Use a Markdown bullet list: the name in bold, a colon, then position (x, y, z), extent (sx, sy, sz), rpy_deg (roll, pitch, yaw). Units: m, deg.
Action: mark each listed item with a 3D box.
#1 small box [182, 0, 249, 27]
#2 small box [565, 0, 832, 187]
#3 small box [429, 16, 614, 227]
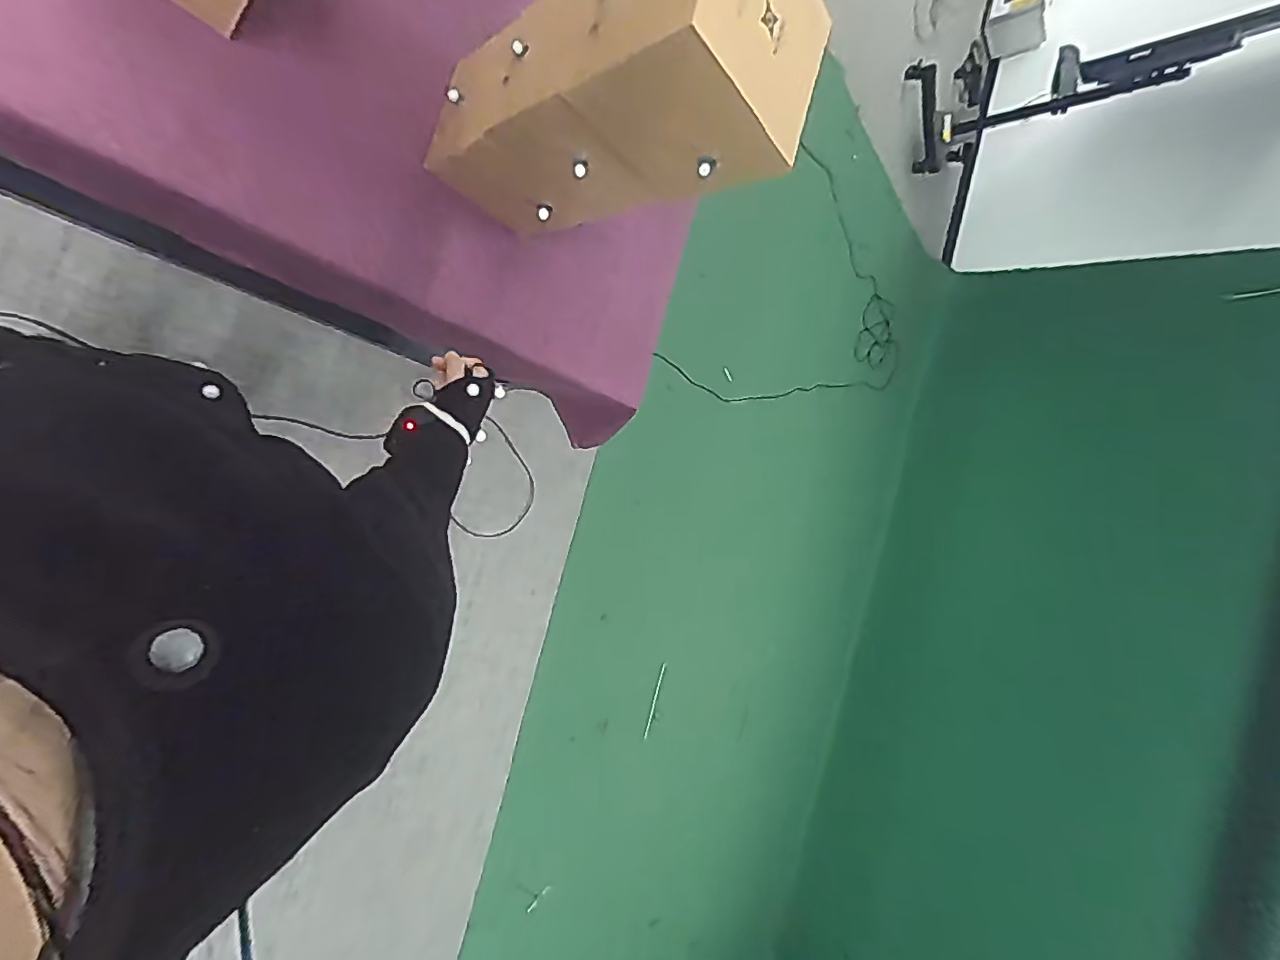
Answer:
- **small box**: position (-0.419, -0.568, 0.480), extent (0.168, 0.176, 0.179), rpy_deg (18, 85, -47)
- **small box**: position (0.058, -0.419, 0.532), extent (0.179, 0.176, 0.168), rpy_deg (20, 85, -46)
- **small box**: position (-0.163, -0.483, 0.767), extent (0.179, 0.176, 0.168), rpy_deg (20, 85, -47)
